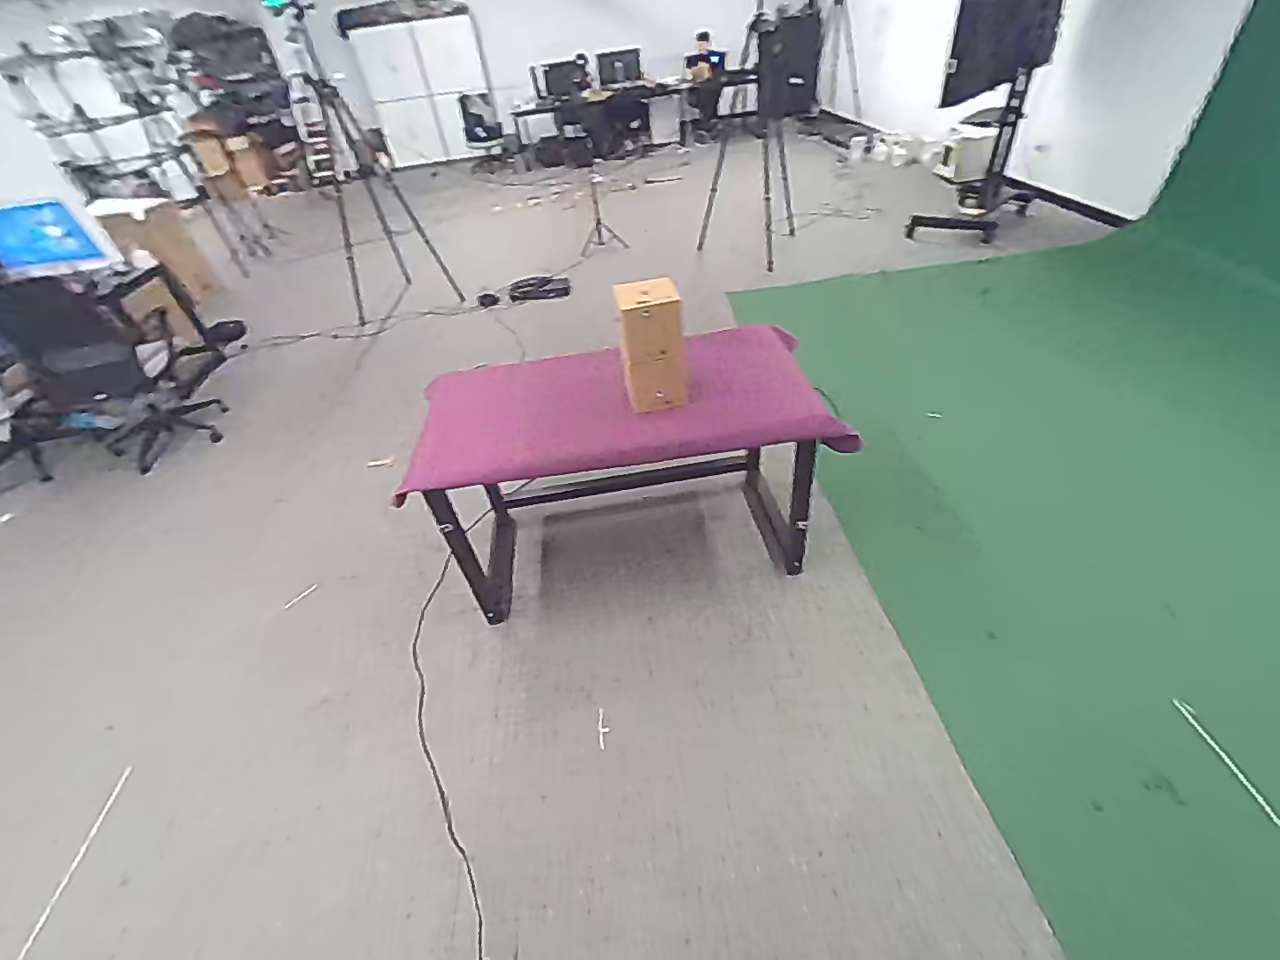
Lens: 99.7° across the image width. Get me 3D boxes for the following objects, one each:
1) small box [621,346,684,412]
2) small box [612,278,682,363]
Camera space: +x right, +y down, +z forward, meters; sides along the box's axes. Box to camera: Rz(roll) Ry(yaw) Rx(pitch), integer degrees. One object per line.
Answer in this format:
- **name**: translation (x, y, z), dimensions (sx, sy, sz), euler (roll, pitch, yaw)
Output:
- **small box**: translation (0.037, -0.331, 1.649), dimensions (0.168, 0.176, 0.179), euler (-11, 41, -3)
- **small box**: translation (0.020, -0.456, 1.542), dimensions (0.168, 0.176, 0.179), euler (-12, 40, -3)
